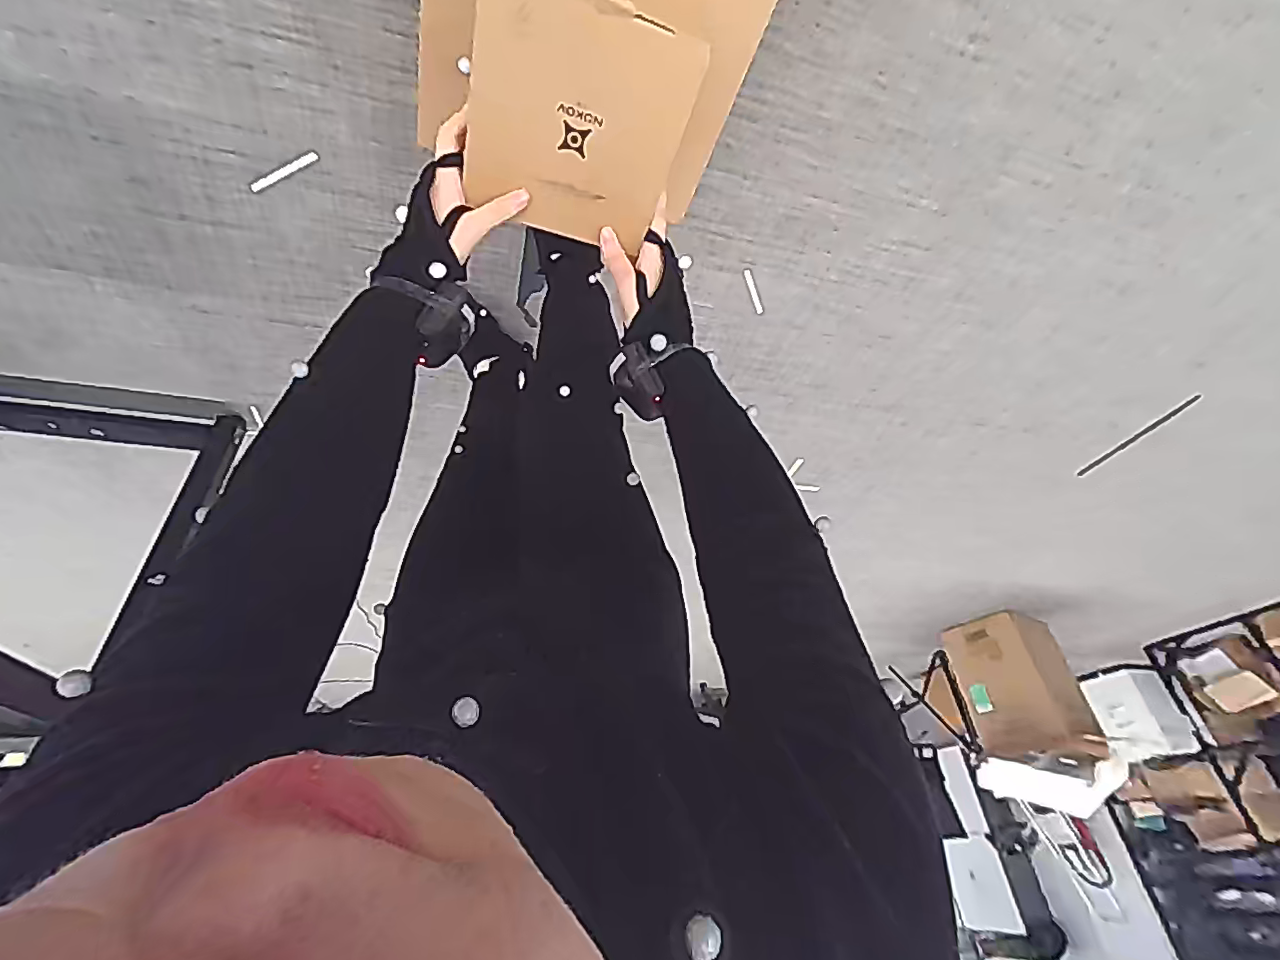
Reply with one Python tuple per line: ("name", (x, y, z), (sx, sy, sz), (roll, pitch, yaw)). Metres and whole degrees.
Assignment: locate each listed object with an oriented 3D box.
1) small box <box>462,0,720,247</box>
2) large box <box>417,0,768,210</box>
("small box", (-0.051, -0.346, 0.467), (0.168, 0.176, 0.179), (10, 143, -17))
("large box", (-0.038, -0.583, 0.558), (0.320, 0.320, 0.408), (7, 143, -19))
